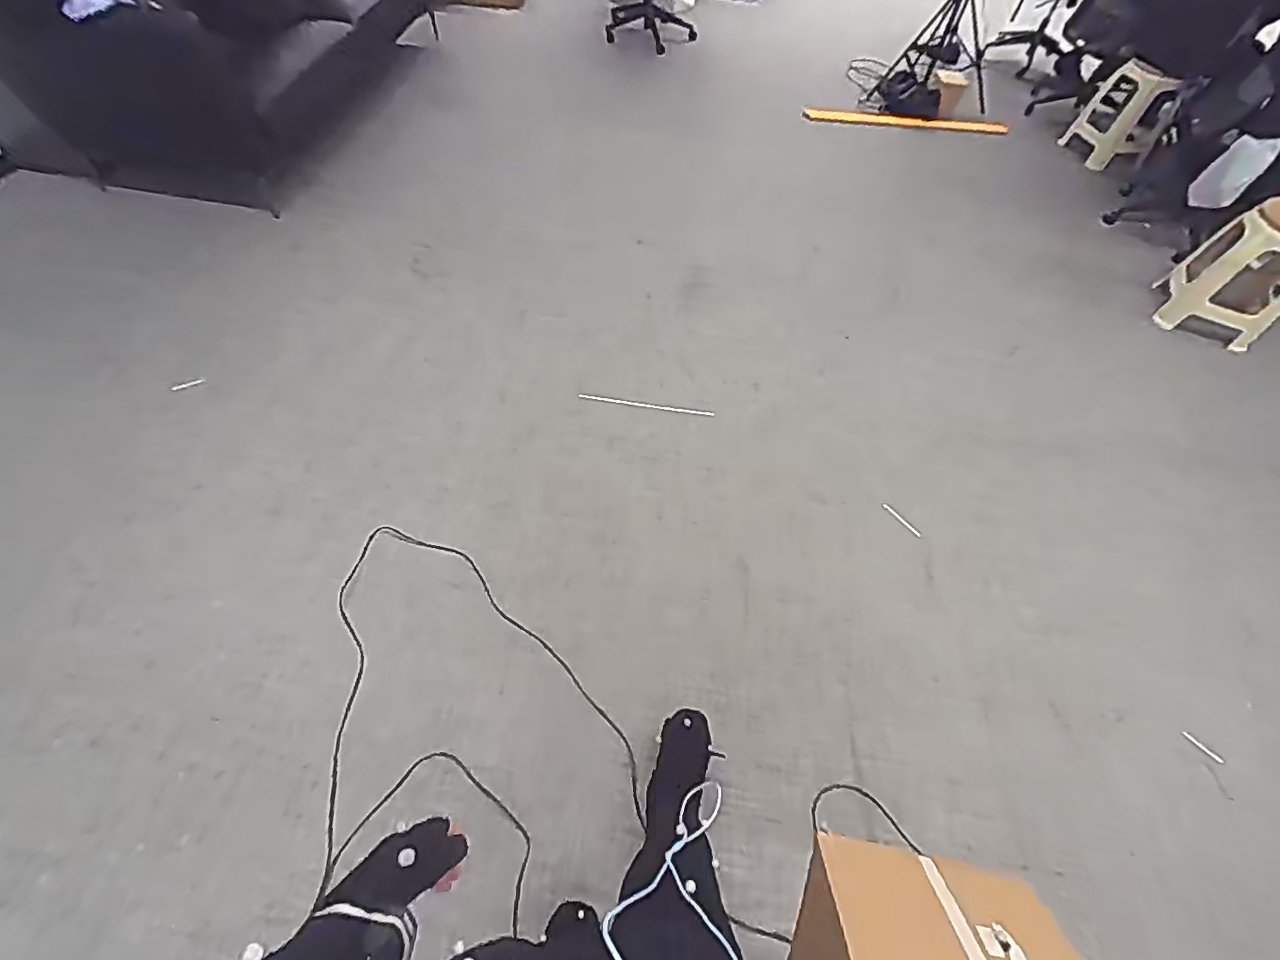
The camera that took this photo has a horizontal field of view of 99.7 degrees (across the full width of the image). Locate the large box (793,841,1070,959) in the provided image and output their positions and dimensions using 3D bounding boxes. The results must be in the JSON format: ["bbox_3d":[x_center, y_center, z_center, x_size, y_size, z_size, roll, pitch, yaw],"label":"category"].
[{"bbox_3d":[0.371,0.742,0.633,0.320,0.408,0.320,12,94,6],"label":"large box"}]
